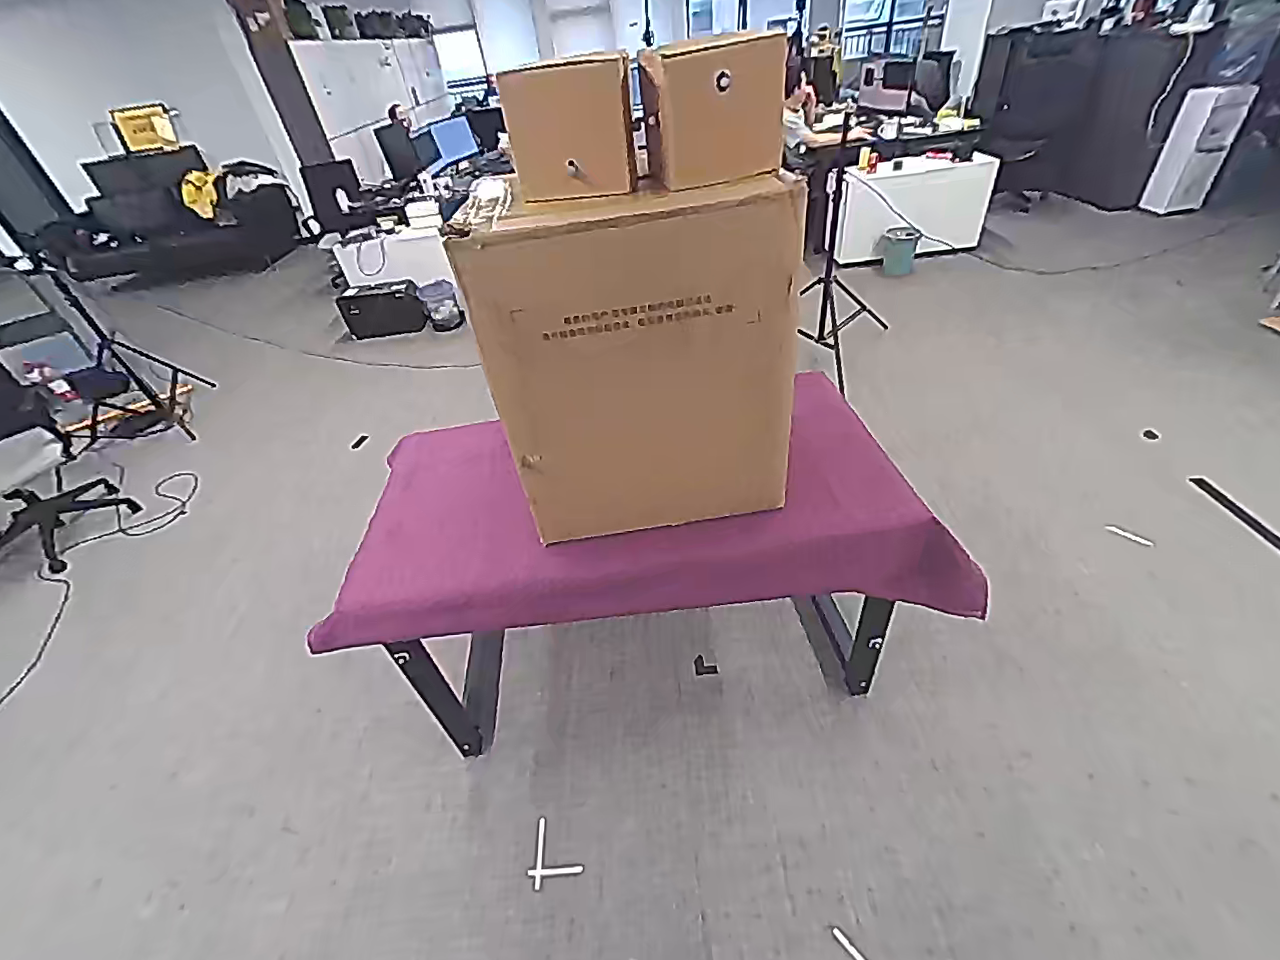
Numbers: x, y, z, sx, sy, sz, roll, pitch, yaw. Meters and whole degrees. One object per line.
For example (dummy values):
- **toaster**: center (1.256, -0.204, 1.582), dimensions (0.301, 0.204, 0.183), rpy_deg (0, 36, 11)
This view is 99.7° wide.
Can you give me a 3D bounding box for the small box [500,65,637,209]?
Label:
- **small box**: center (-0.100, -0.545, 0.861), dimensions (0.179, 0.176, 0.168), rpy_deg (-1, 39, 6)
